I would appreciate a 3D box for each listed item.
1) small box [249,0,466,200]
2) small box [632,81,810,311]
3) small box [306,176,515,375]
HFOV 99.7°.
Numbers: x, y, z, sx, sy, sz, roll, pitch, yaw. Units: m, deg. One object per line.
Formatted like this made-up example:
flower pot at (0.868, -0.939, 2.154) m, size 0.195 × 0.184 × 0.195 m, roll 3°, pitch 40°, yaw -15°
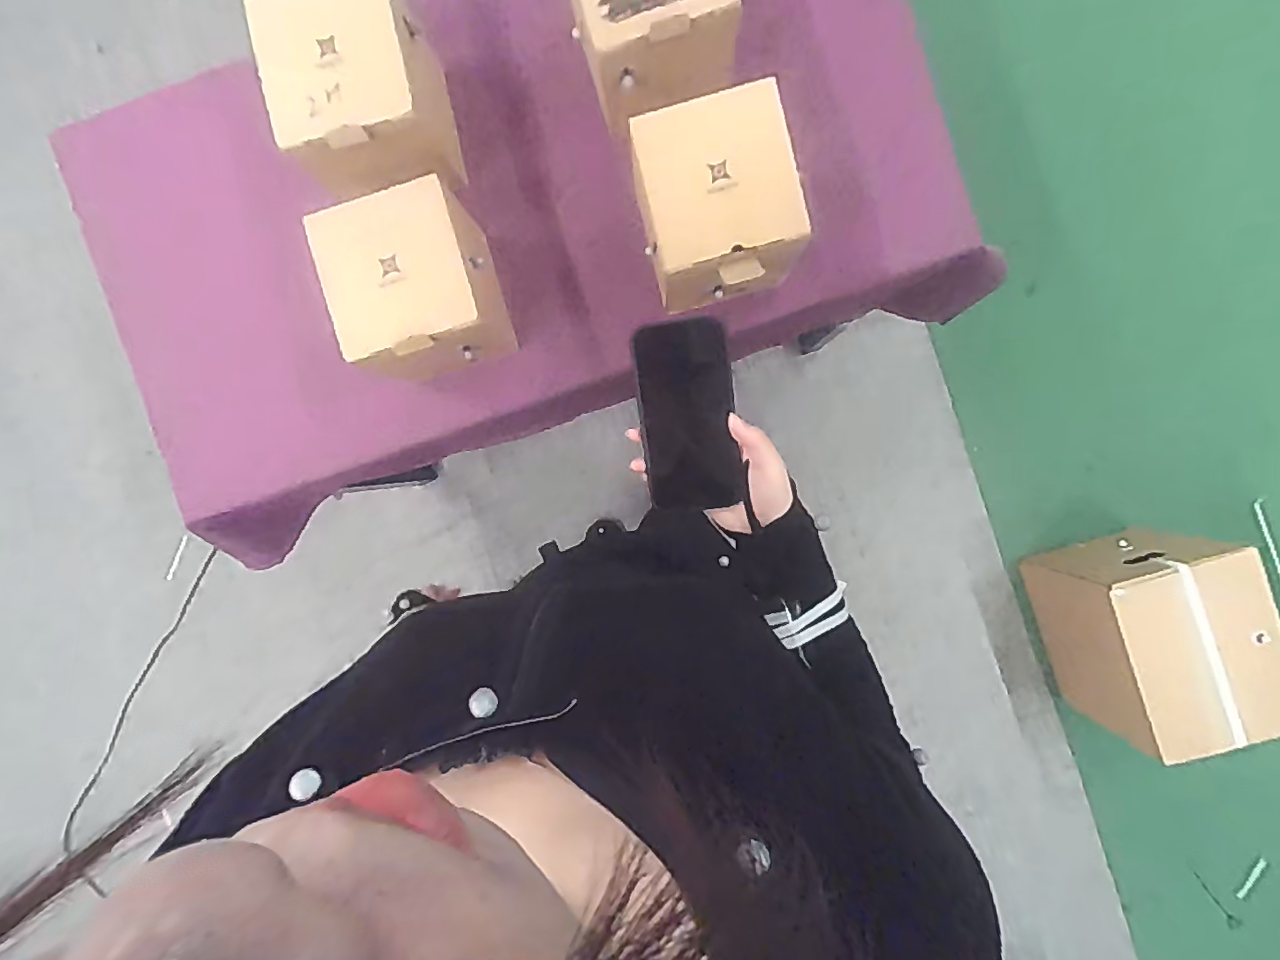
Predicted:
small box at (-0.342, -0.480, 0.686) m, size 0.168 × 0.176 × 0.179 m, roll -12°, pitch 92°, yaw 4°
small box at (0.091, -0.333, 0.669) m, size 0.168 × 0.176 × 0.179 m, roll -14°, pitch 92°, yaw 4°
small box at (-0.277, -0.242, 0.693) m, size 0.168 × 0.176 × 0.179 m, roll -16°, pitch 90°, yaw 3°
